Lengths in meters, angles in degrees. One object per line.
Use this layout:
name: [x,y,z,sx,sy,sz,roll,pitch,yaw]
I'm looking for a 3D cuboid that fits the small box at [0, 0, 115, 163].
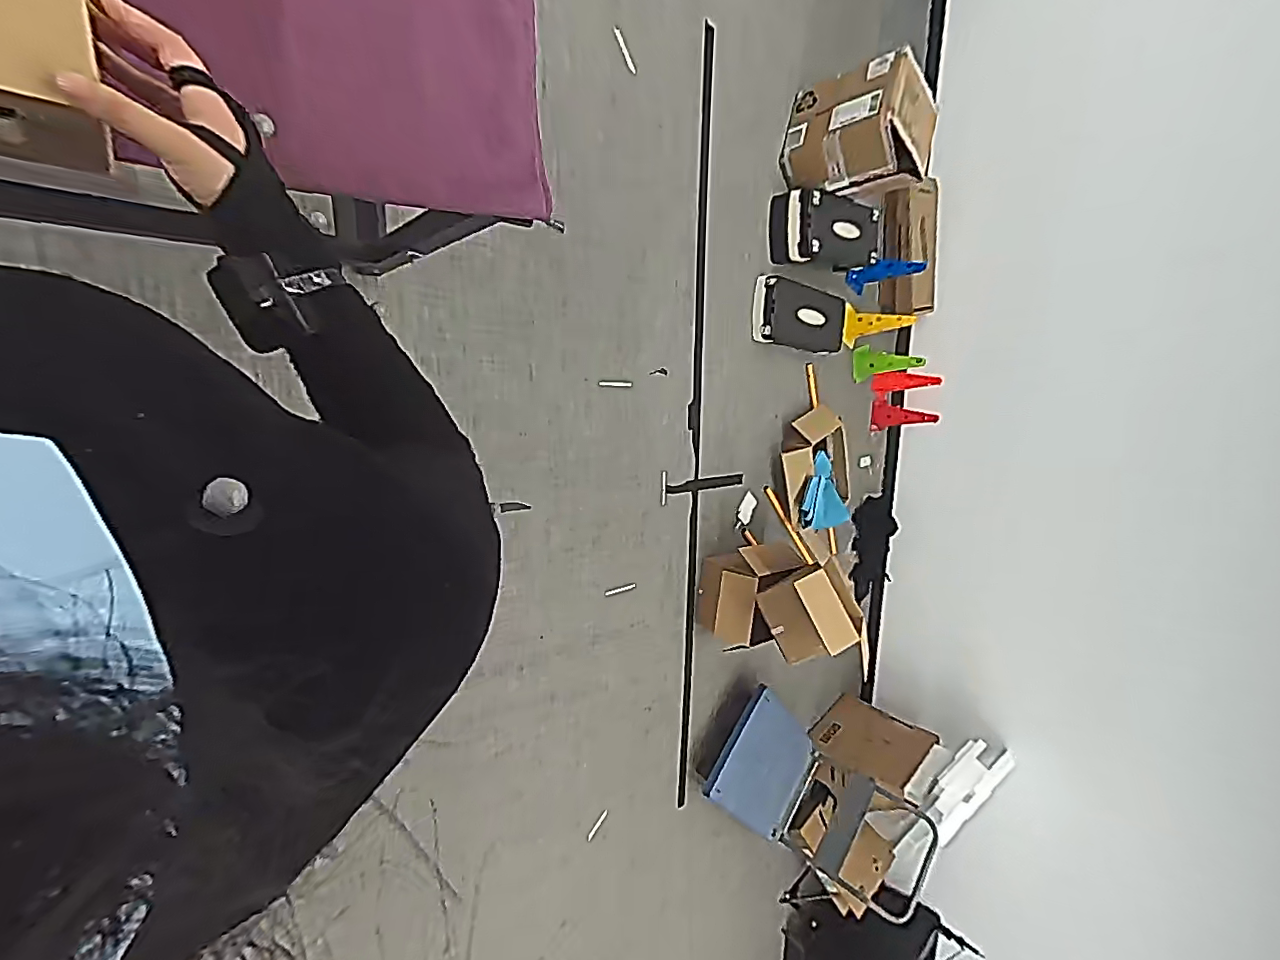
small box: [-0.445,-0.313,0.323,0.179,0.176,0.168,-8,105,-41]
